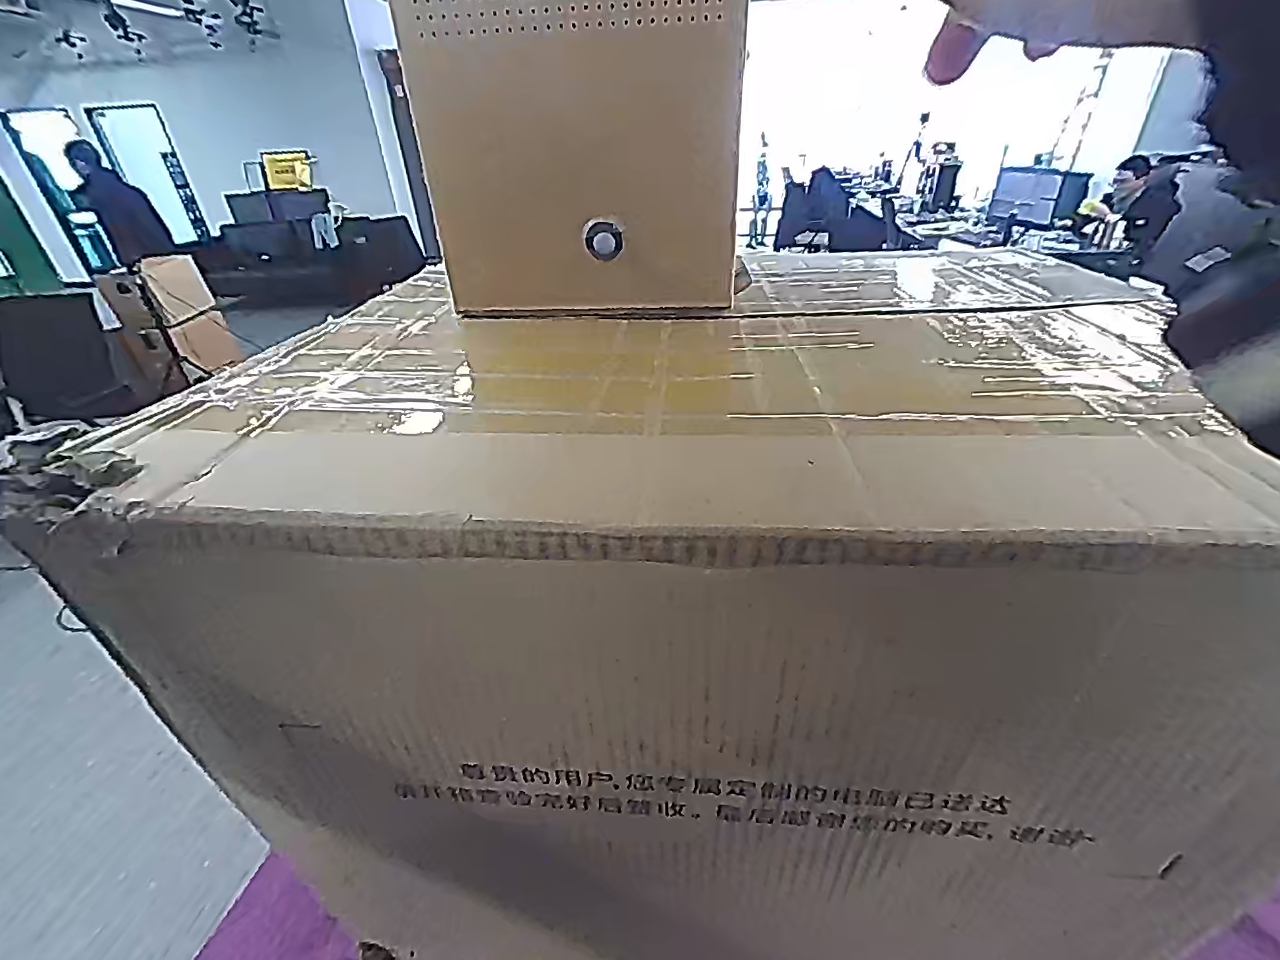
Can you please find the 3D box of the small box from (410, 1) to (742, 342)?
[{"bbox_3d":[-0.027,-0.205,0.373,0.179,0.176,0.168,1,32,4],"label":"small box"}]
